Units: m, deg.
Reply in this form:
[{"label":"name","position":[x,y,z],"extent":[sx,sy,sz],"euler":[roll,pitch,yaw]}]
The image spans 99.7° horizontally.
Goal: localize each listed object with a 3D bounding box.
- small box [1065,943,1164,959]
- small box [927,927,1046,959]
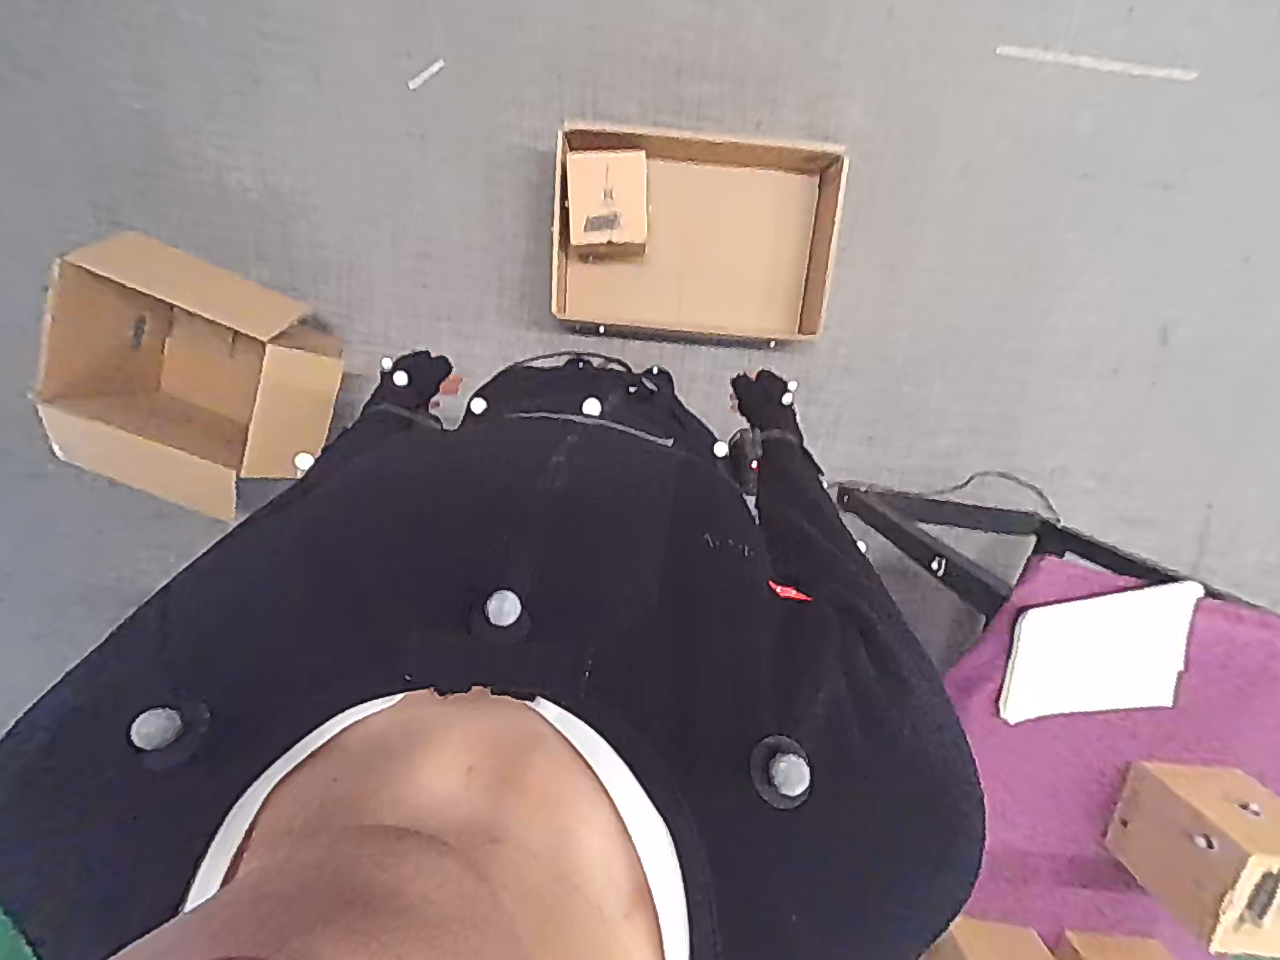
[{"label":"small box","position":[0.803,0.896,0.869],"extent":[0.179,0.176,0.168],"euler":[7,102,-3]},{"label":"small box","position":[0.578,0.860,0.854],"extent":[0.179,0.176,0.168],"euler":[13,102,-4]}]
